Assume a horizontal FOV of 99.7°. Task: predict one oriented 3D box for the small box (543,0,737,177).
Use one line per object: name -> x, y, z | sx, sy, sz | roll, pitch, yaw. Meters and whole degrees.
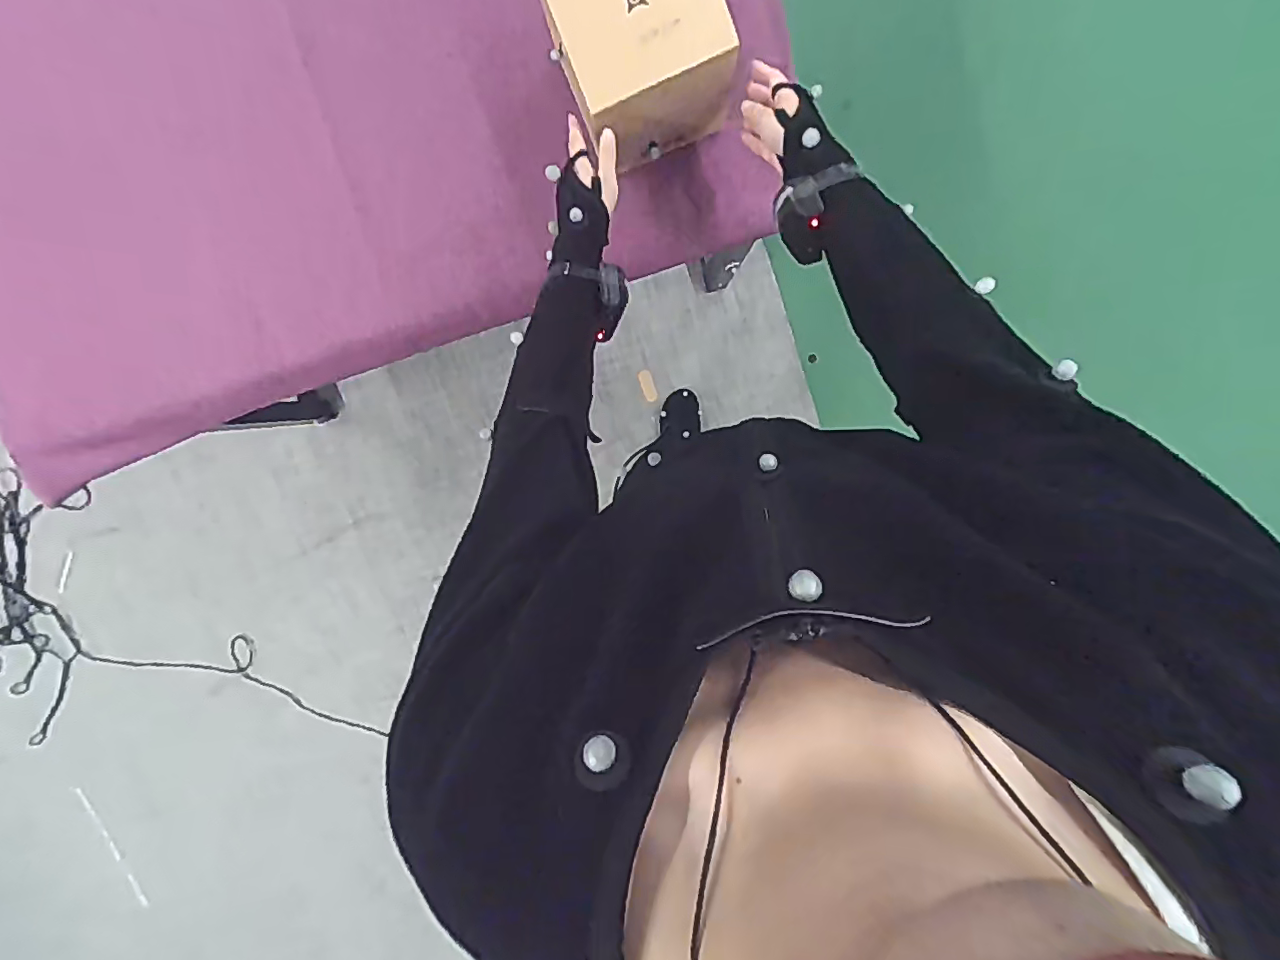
small box -> -0.005, -0.490, 0.616 | 0.168, 0.176, 0.179 | -21, 96, 6
